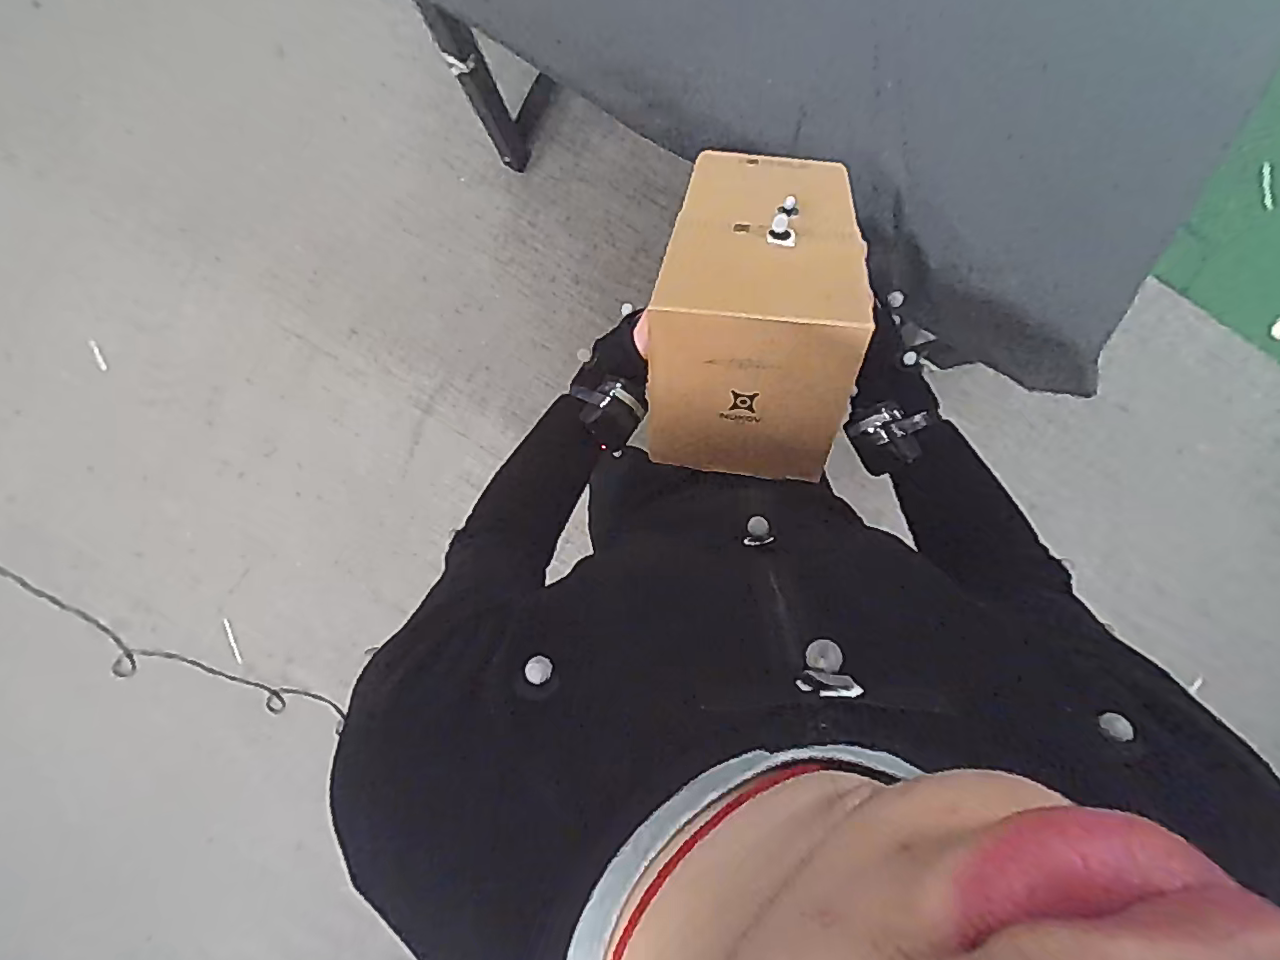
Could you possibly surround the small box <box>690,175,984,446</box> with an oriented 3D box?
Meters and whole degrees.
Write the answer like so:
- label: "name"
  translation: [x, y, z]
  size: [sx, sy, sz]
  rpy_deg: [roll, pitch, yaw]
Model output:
- label: "small box"
  translation: [0.182, -0.166, 0.530]
  size: [0.179, 0.168, 0.176]
  rpy_deg: [20, 115, -24]
